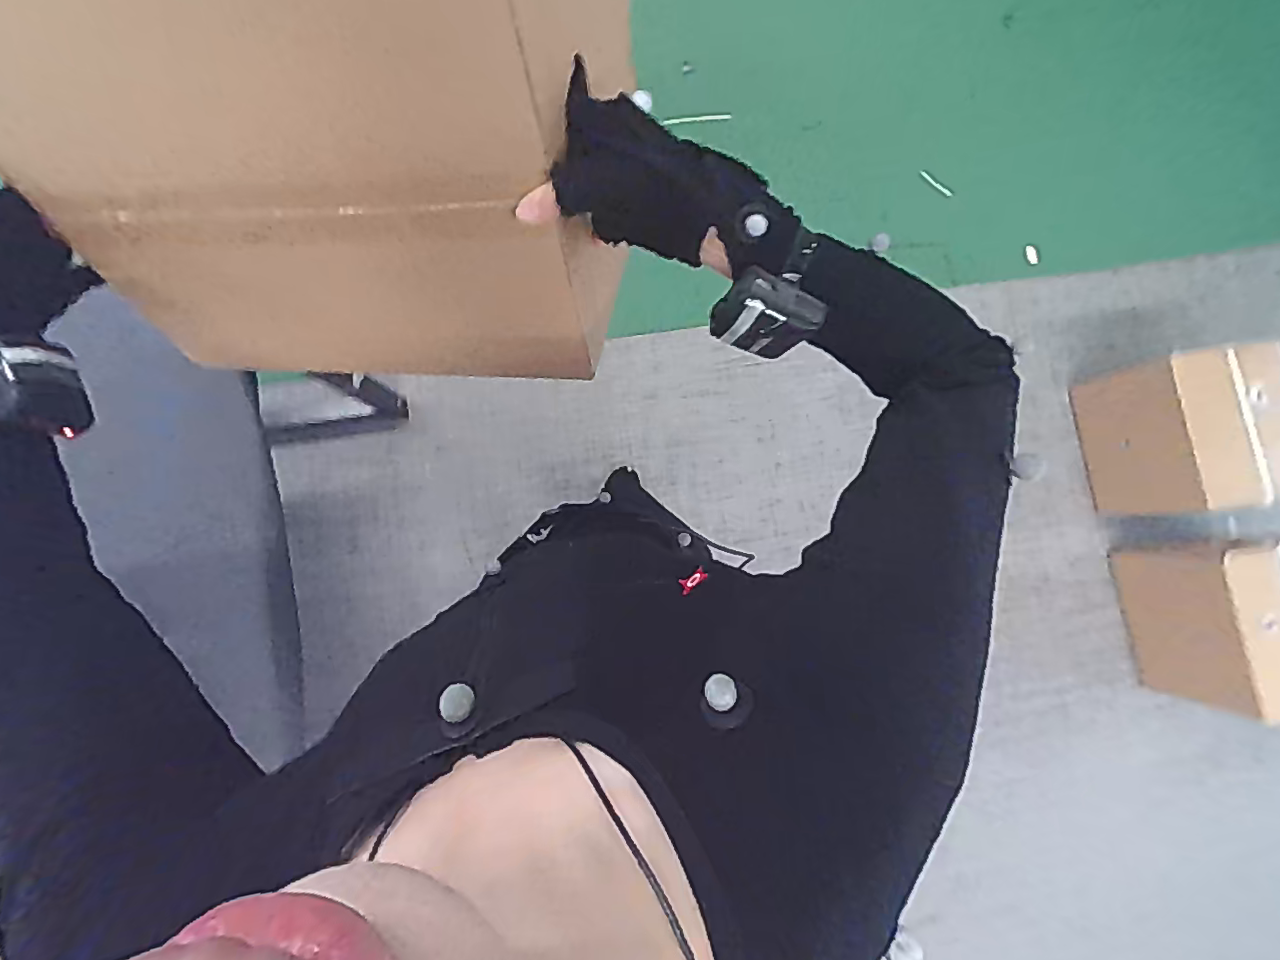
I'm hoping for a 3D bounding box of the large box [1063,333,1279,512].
[{"bbox_3d":[1.489,-0.140,1.507,0.320,0.320,0.408,-9,83,-5],"label":"large box"}]
